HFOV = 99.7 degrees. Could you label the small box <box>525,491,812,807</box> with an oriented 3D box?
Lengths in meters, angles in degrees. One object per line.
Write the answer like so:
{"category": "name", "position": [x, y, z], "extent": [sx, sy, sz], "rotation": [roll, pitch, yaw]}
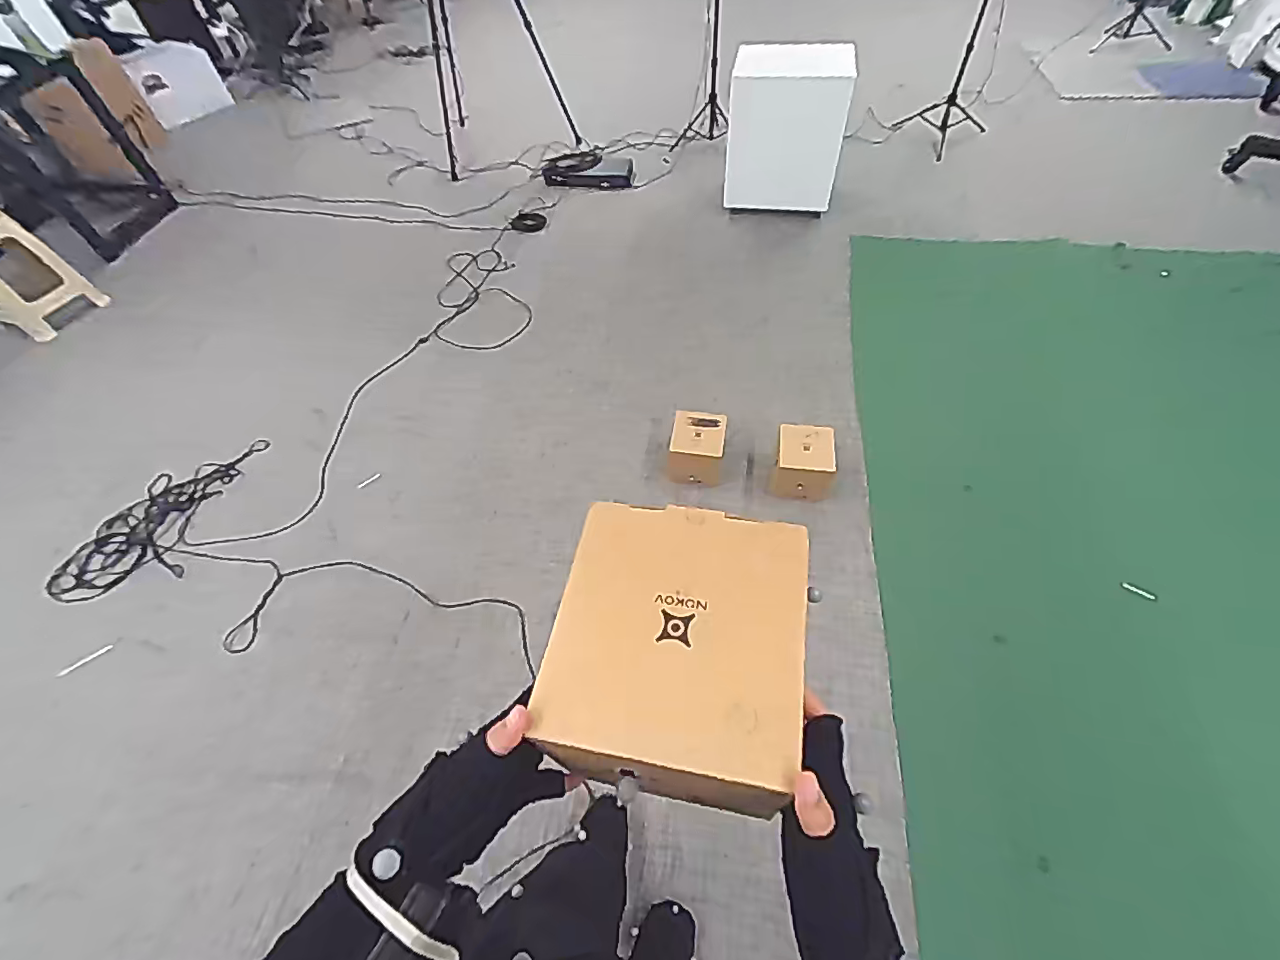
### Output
{"category": "small box", "position": [0.035, 0.133, 0.419], "extent": [0.168, 0.176, 0.179], "rotation": [6, 54, 12]}

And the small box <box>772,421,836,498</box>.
{"category": "small box", "position": [0.514, -0.061, 1.705], "extent": [0.168, 0.176, 0.179], "rotation": [6, 55, 7]}
